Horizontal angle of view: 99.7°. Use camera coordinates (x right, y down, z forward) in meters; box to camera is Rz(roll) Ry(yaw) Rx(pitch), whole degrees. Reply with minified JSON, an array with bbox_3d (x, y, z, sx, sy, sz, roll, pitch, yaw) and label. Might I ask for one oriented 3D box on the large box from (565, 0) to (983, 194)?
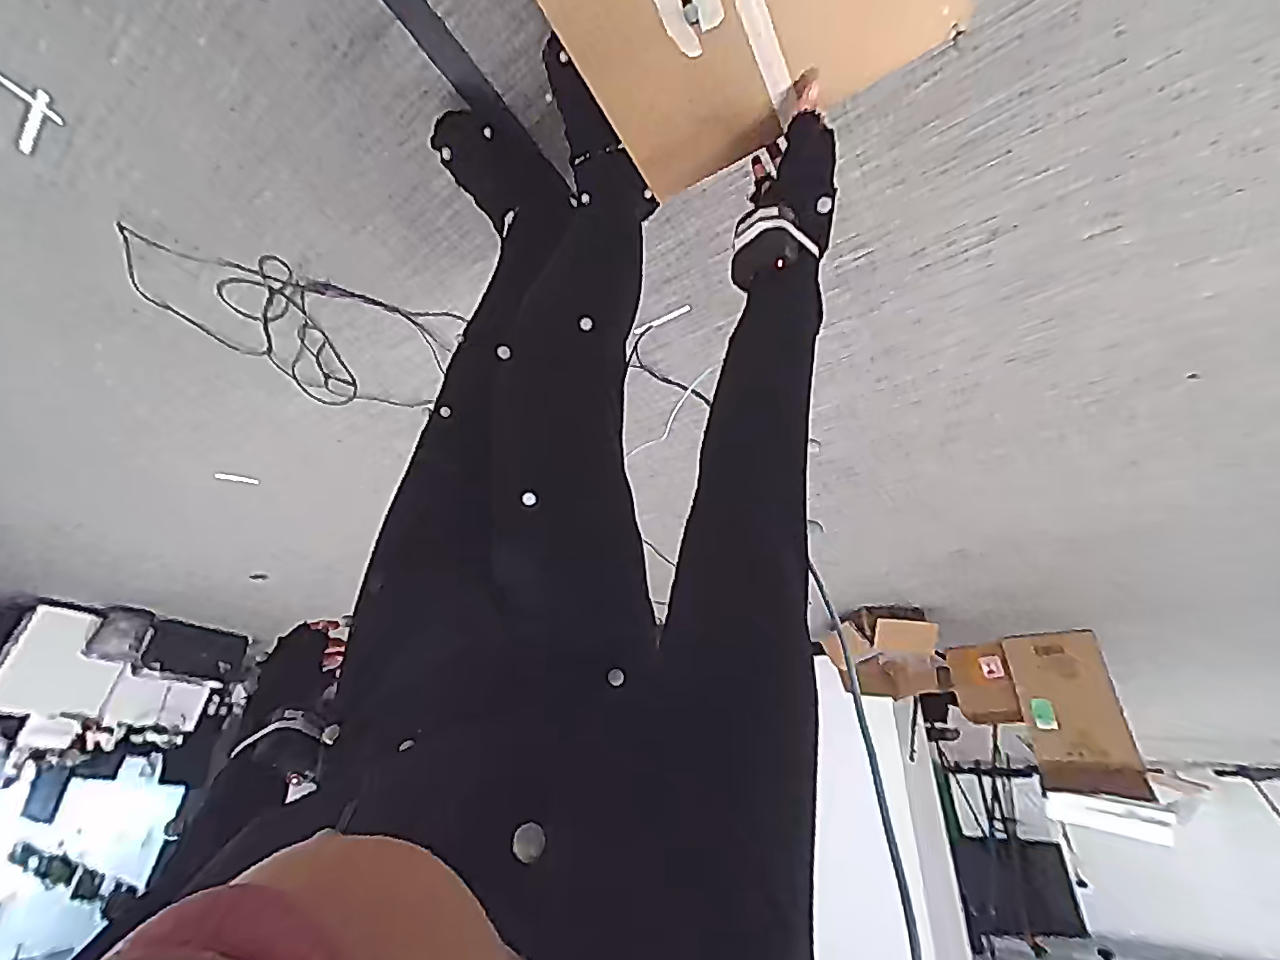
[{"bbox_3d":[0.073,-0.578,0.481,0.320,0.320,0.408,-15,145,28],"label":"large box"}]
